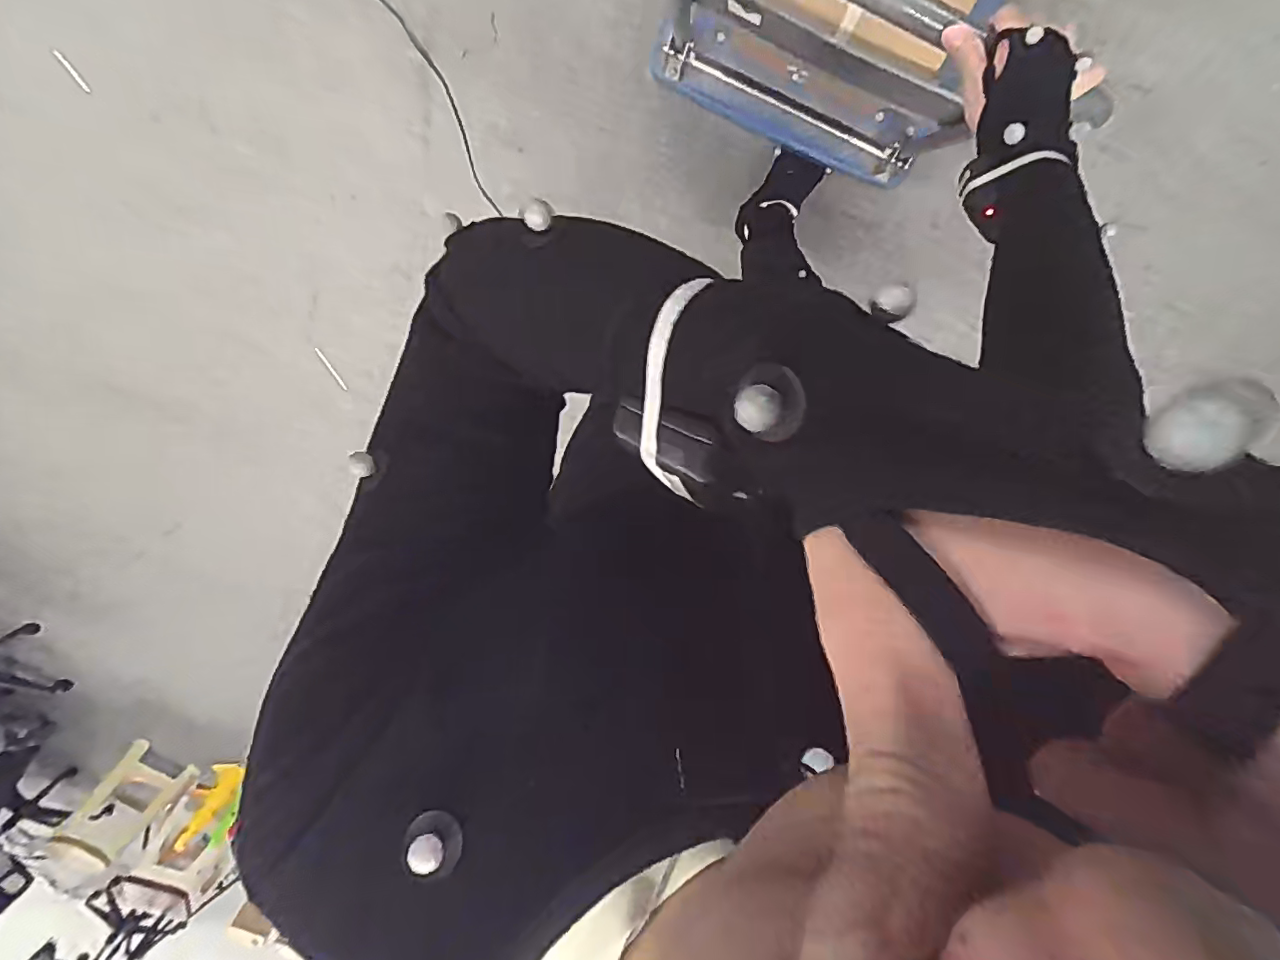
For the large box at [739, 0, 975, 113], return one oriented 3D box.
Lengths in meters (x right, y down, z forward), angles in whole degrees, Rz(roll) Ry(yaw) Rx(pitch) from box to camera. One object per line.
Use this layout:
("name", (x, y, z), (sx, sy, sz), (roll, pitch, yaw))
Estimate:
("large box", (0.380, -0.875, 0.844), (0.320, 0.320, 0.408), (22, 117, -5))
